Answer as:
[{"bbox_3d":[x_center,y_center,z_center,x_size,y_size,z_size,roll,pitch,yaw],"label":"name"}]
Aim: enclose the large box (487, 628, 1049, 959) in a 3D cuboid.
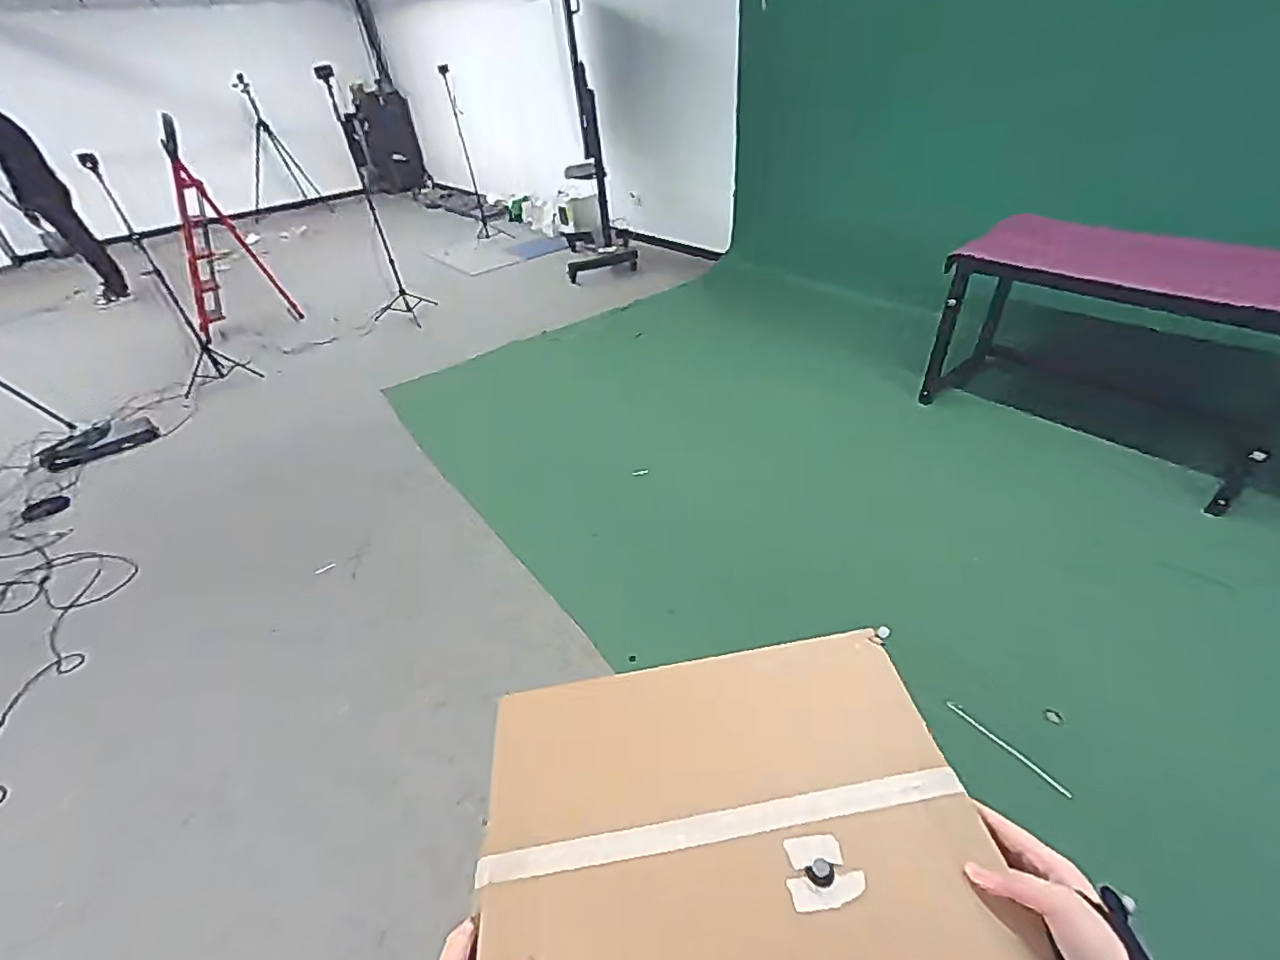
[{"bbox_3d":[0.084,0.404,0.557,0.408,0.320,0.320,-10,39,-2],"label":"large box"}]
